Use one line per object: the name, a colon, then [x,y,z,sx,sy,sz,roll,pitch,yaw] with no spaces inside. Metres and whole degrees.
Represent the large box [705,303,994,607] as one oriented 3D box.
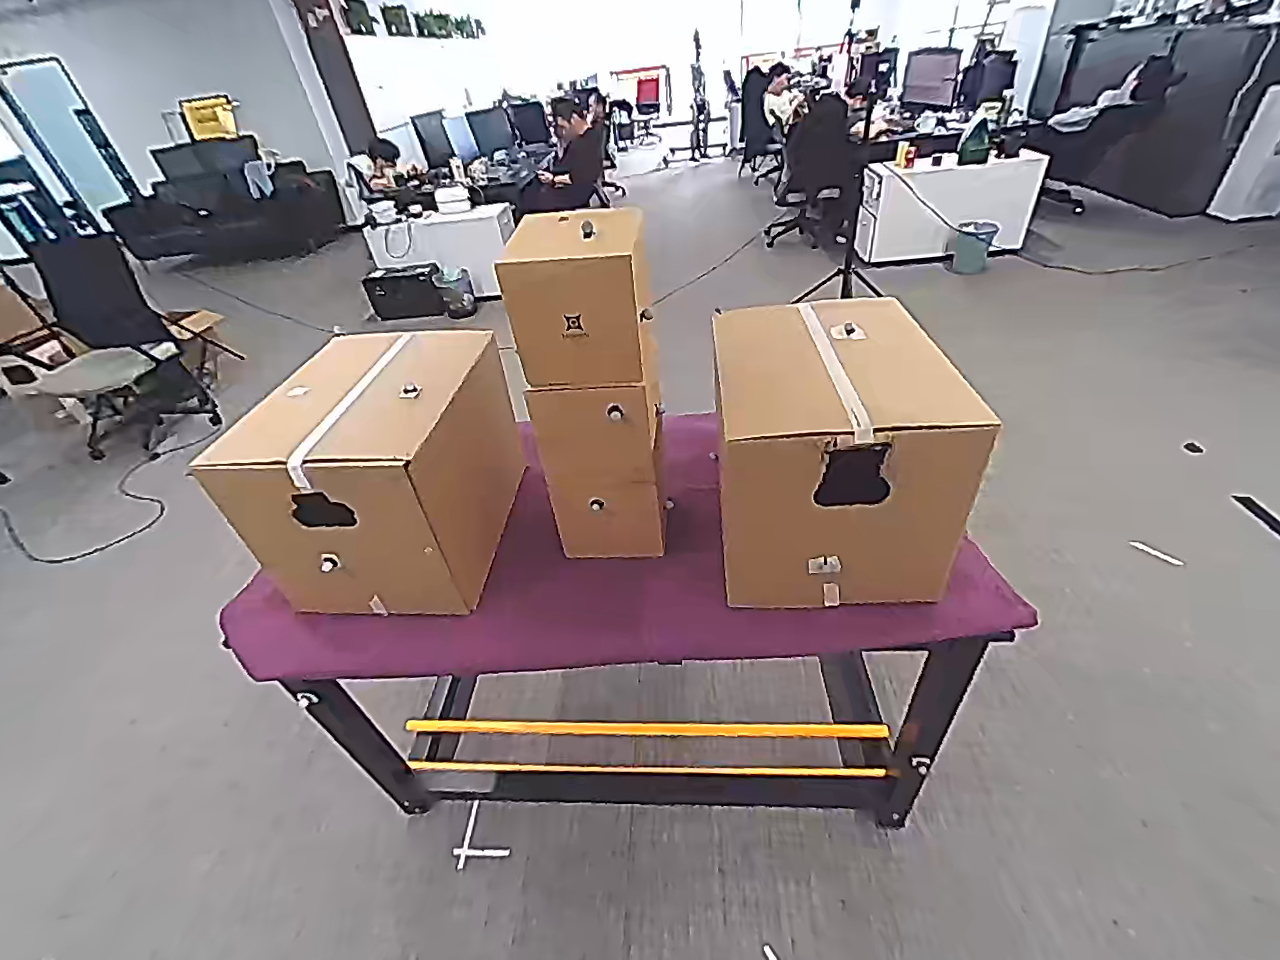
large box: [0.277,-0.053,0.869,0.320,0.320,0.408,-3,37,5]
